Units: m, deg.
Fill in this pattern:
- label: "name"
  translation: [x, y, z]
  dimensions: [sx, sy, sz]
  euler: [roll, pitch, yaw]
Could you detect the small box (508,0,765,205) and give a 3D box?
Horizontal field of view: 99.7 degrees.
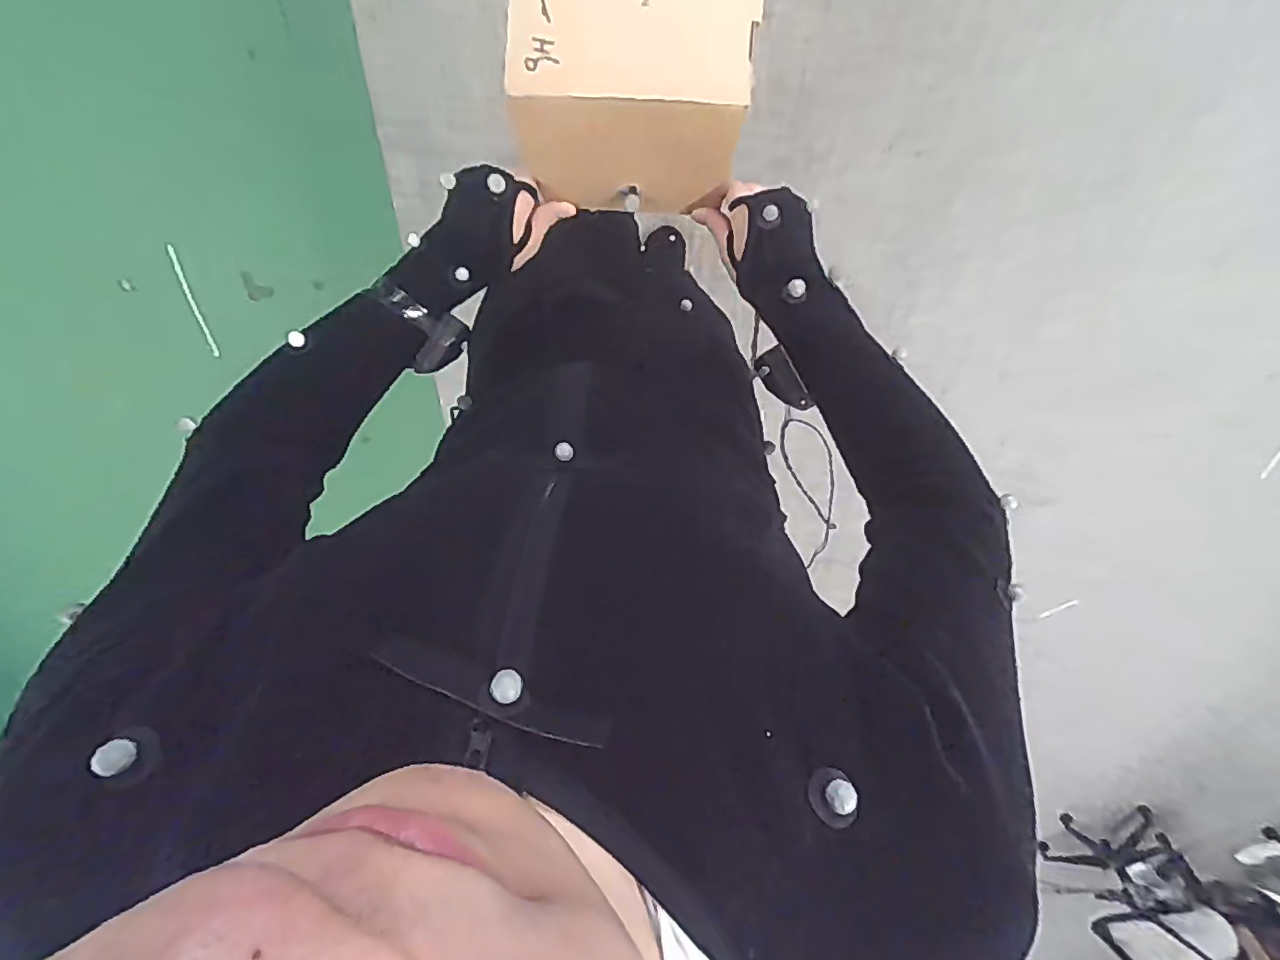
- label: "small box"
  translation: [0.000, -0.352, 0.451]
  dimensions: [0.179, 0.176, 0.168]
  euler: [4, 90, 0]
